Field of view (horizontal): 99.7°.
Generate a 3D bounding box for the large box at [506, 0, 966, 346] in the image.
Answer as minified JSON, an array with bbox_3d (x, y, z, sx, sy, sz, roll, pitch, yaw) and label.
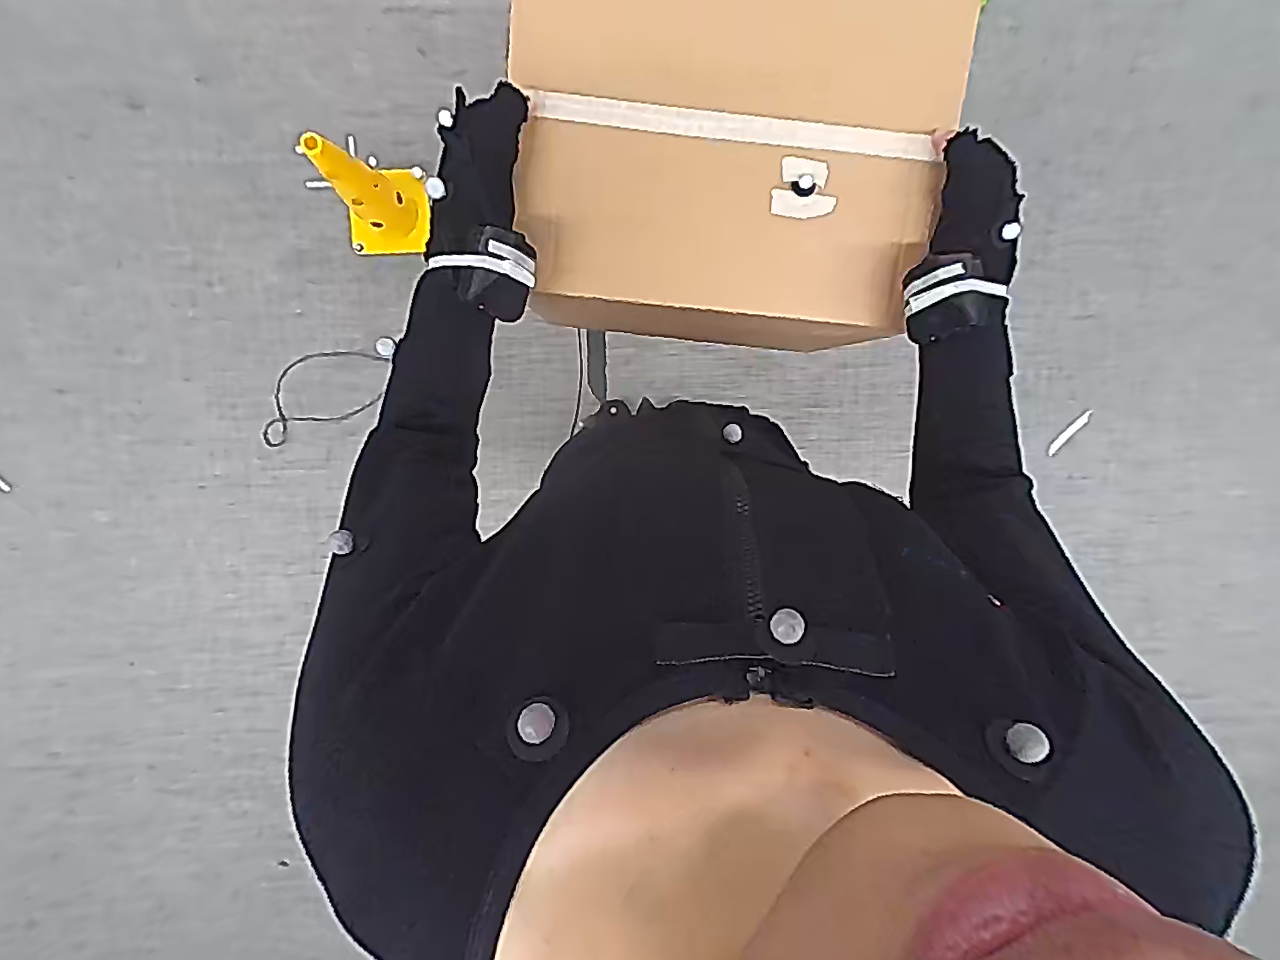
[{"bbox_3d":[0.076,-0.342,0.635,0.408,0.320,0.320,5,100,-3],"label":"large box"}]
